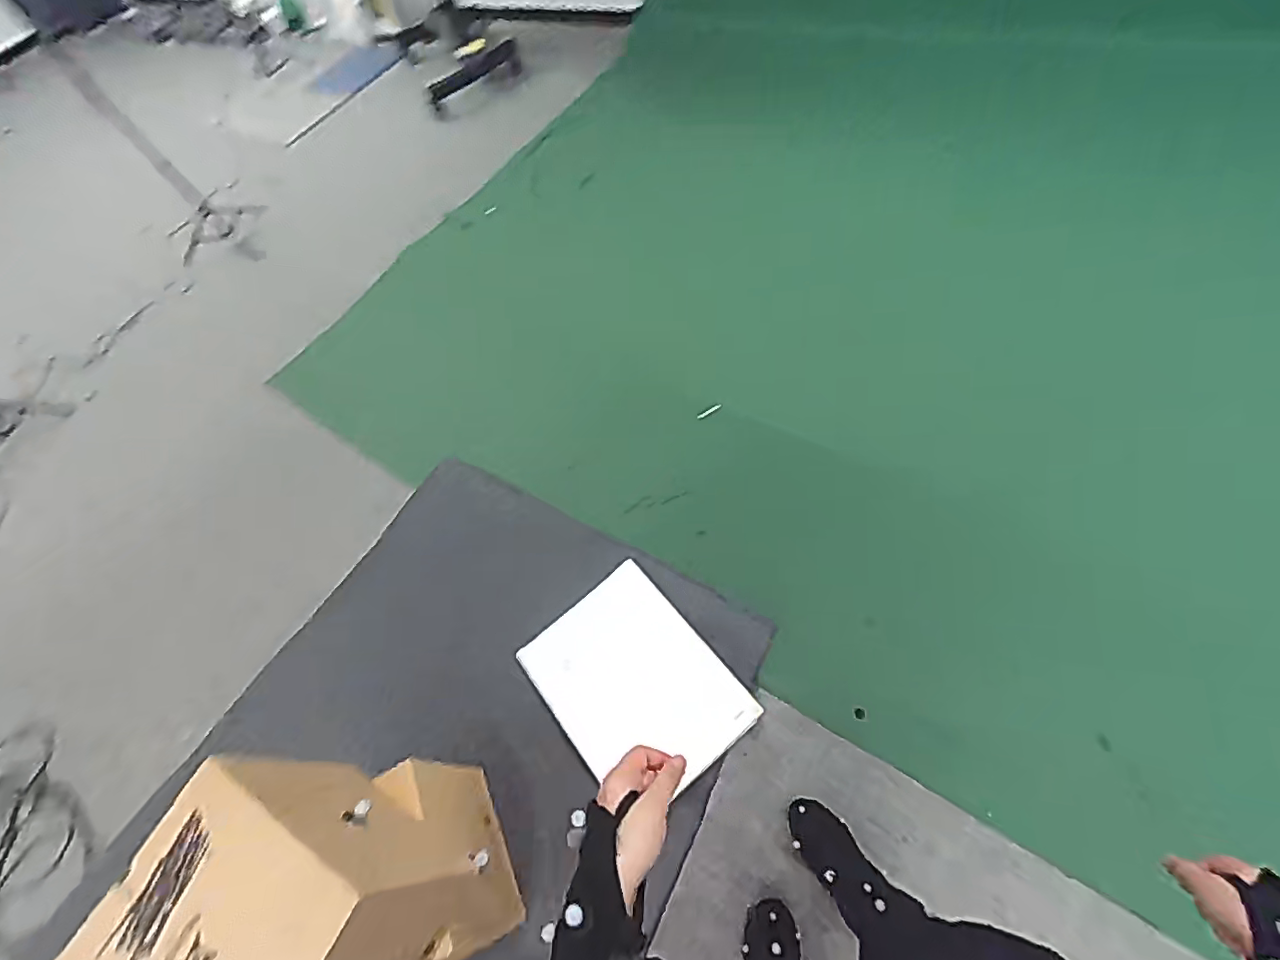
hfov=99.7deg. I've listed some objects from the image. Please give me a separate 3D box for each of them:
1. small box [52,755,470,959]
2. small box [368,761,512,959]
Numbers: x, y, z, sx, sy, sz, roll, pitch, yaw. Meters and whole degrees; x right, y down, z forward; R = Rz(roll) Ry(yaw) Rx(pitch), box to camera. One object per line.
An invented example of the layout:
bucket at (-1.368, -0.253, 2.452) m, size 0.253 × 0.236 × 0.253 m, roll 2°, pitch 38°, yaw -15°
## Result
small box at (-0.269, 0.336, 0.408) m, size 0.179 × 0.176 × 0.168 m, roll 20°, pitch 68°, yaw 22°
small box at (-0.251, 0.413, 0.553) m, size 0.179 × 0.176 × 0.168 m, roll -30°, pitch 59°, yaw -5°
